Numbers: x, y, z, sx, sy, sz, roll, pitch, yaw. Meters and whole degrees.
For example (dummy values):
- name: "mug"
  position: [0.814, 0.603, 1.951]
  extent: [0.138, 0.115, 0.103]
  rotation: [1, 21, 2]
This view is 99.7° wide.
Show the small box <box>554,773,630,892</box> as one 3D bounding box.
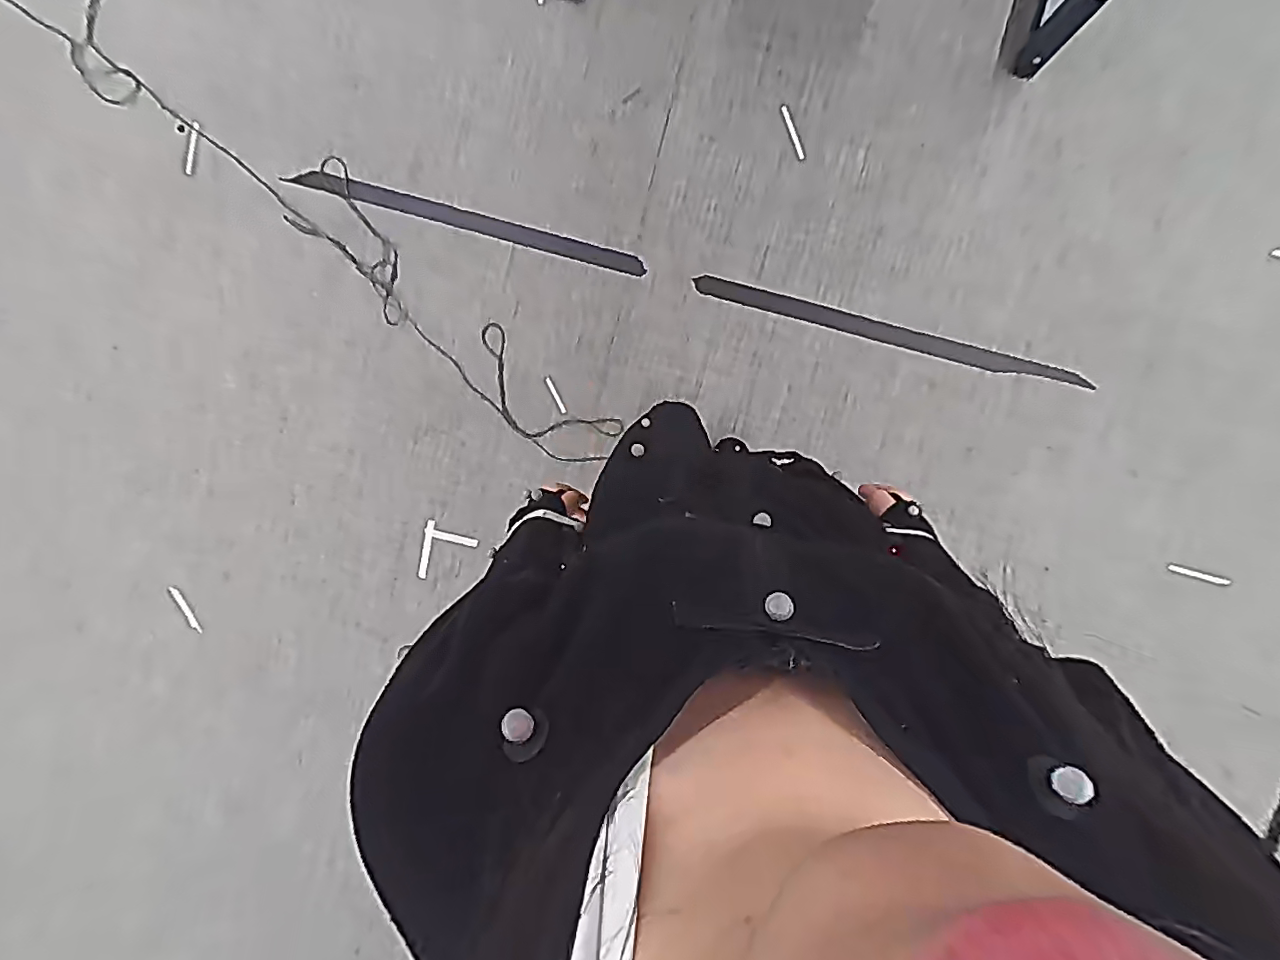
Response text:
- name: "small box"
  position: [-0.111, 0.854, 1.320]
  extent: [0.168, 0.176, 0.179]
  rotation: [2, 96, 2]

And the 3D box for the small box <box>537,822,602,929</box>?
- name: "small box"
  position: [-0.184, 1.097, 1.518]
  extent: [0.168, 0.176, 0.179]
  rotation: [6, 96, 3]

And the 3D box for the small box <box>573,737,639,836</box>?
- name: "small box"
  position: [-0.093, 0.833, 1.483]
  extent: [0.168, 0.176, 0.179]
  rotation: [1, 95, 4]
